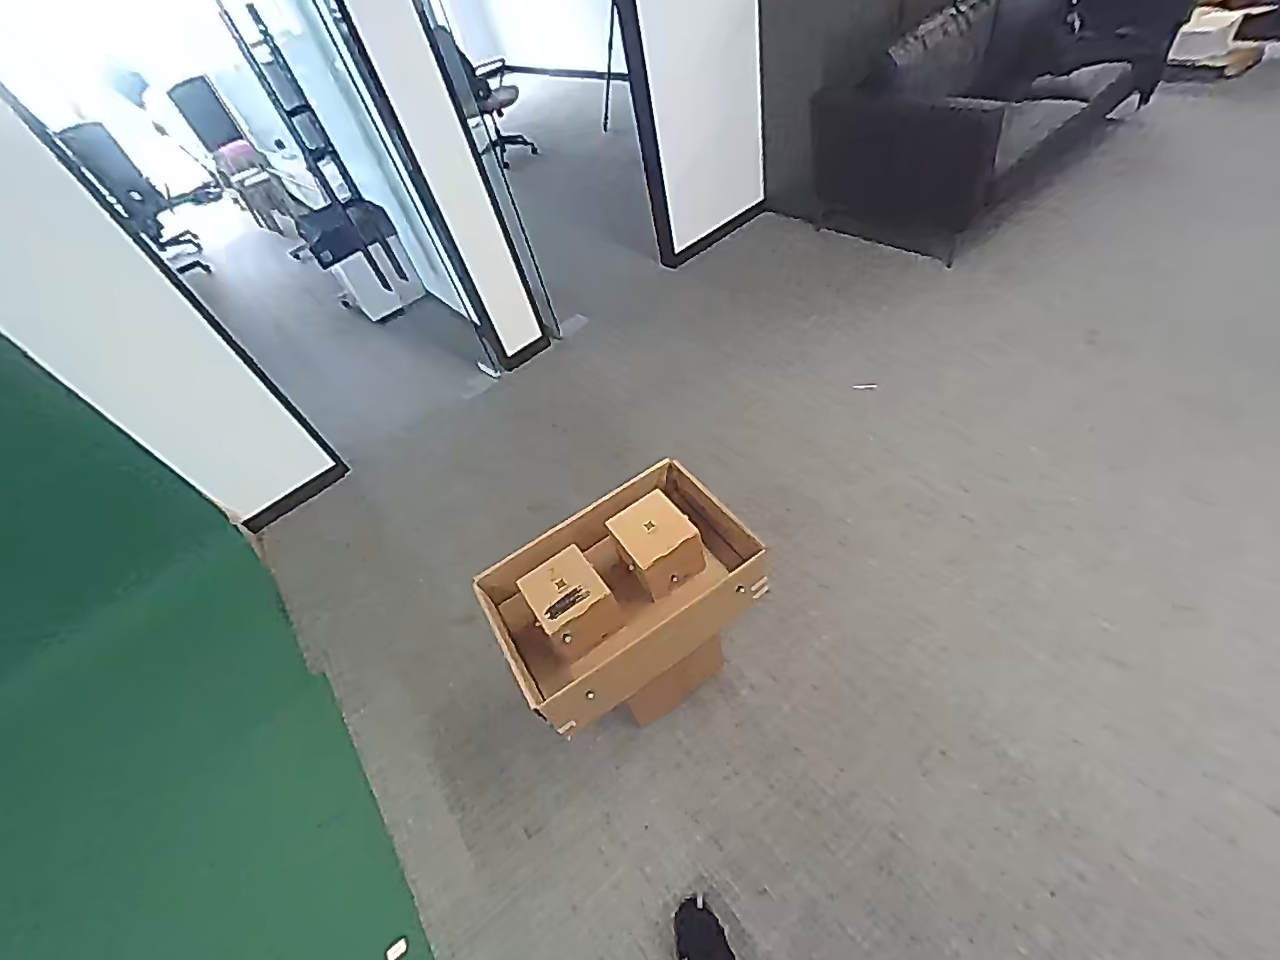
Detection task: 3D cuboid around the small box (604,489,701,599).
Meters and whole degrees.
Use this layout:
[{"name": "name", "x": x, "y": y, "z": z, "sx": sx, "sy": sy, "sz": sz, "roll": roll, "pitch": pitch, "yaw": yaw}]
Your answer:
[{"name": "small box", "x": 0.035, "y": 0.162, "z": 1.349, "sx": 0.168, "sy": 0.176, "sz": 0.179, "roll": -32, "pitch": 52, "yaw": -14}]
